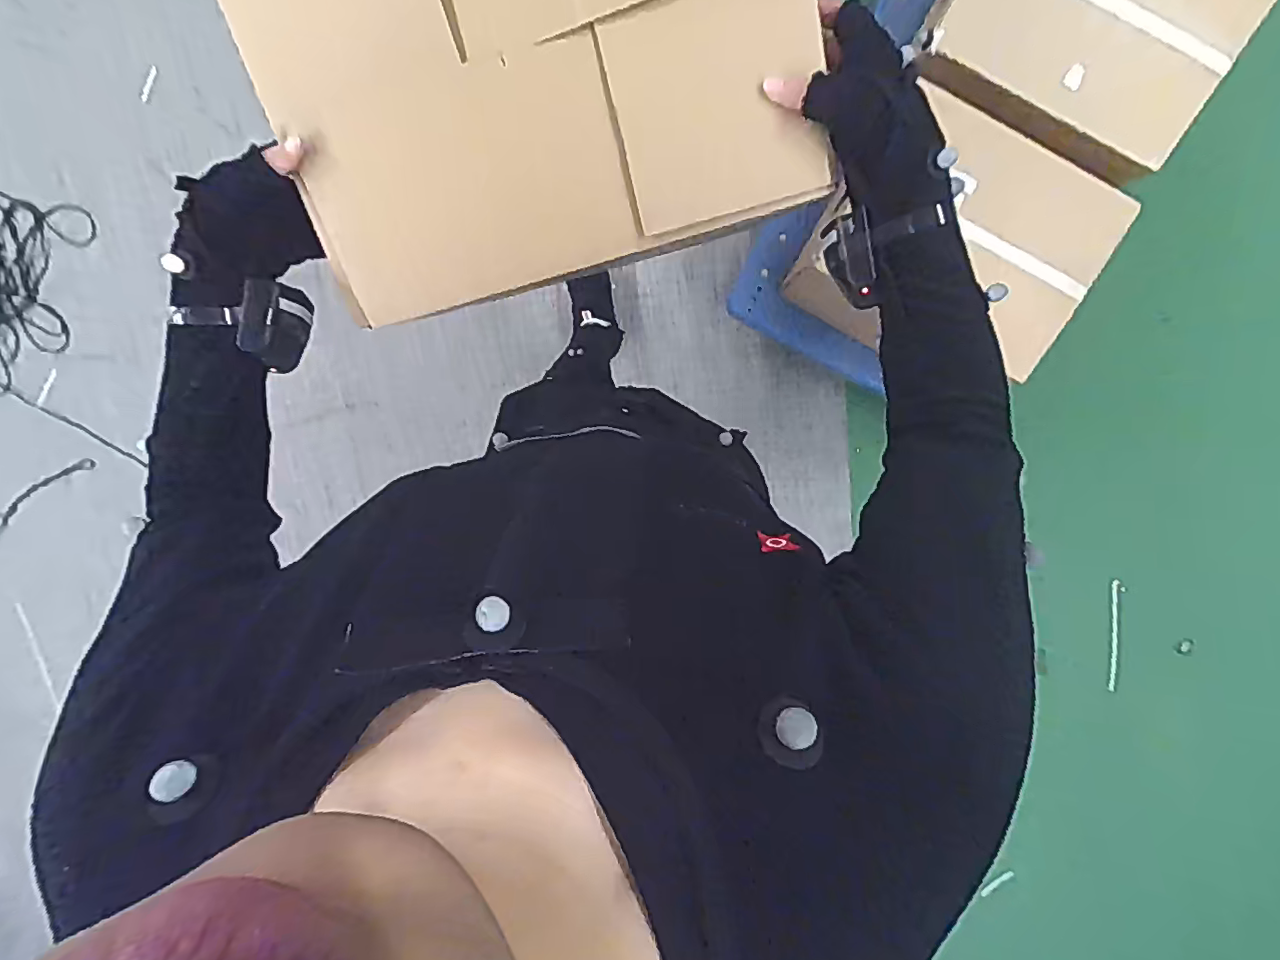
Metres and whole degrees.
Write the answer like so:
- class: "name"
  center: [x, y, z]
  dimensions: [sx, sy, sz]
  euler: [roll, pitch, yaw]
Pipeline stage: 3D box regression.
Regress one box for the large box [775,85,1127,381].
- class: "large box"
  center: [0.521, -0.410, 1.004]
  dimensions: [0.408, 0.320, 0.320]
  euler: [29, 101, 0]
